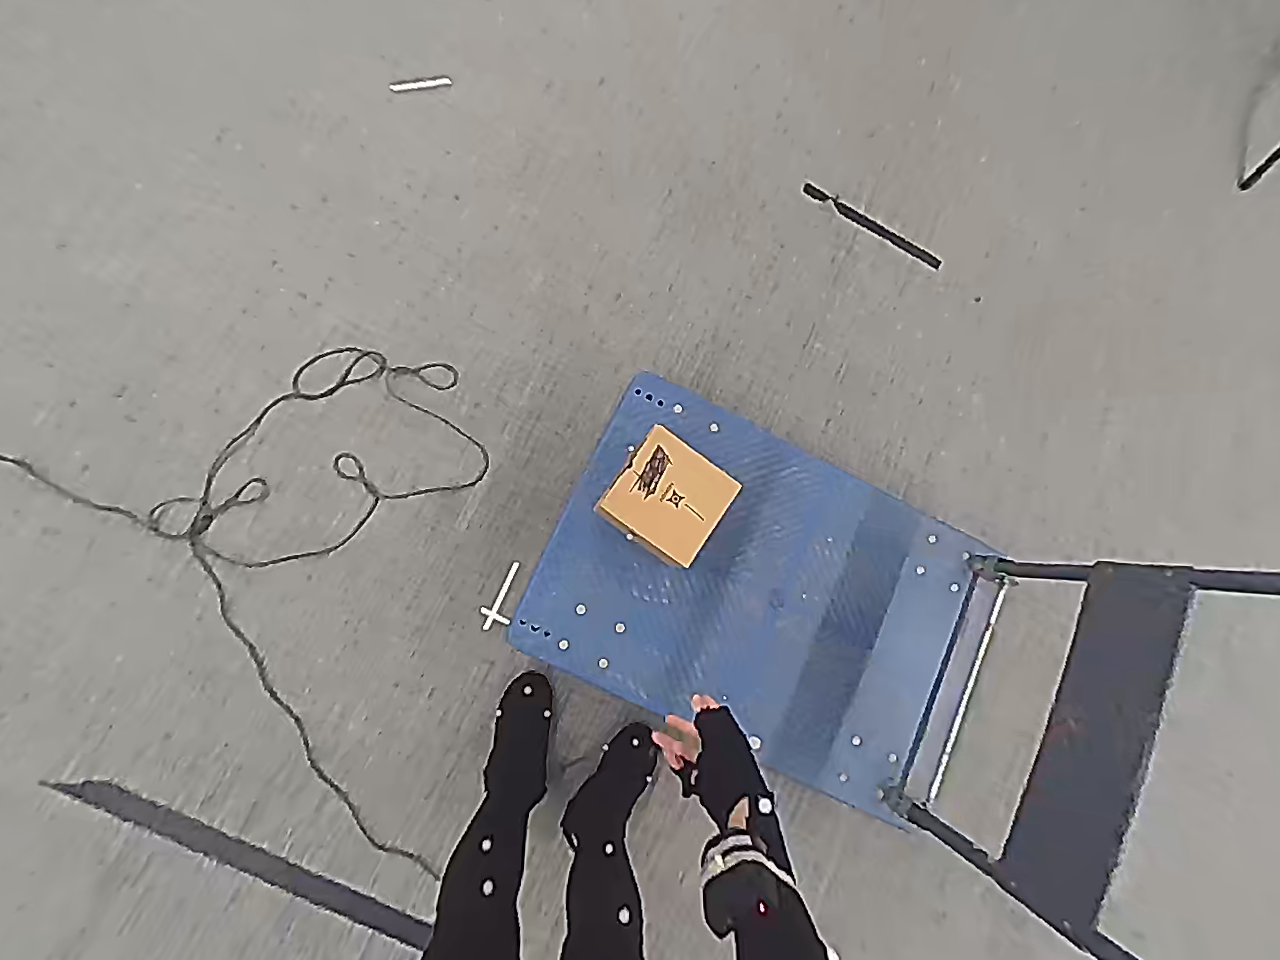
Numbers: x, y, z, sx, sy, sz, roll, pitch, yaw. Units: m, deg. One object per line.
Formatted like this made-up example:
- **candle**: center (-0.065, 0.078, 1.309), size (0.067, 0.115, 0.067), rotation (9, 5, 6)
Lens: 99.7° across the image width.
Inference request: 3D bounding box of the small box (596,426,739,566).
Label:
- **small box**: center (0.036, 0.035, 0.946), size (0.179, 0.176, 0.168), rotation (36, 80, -3)
